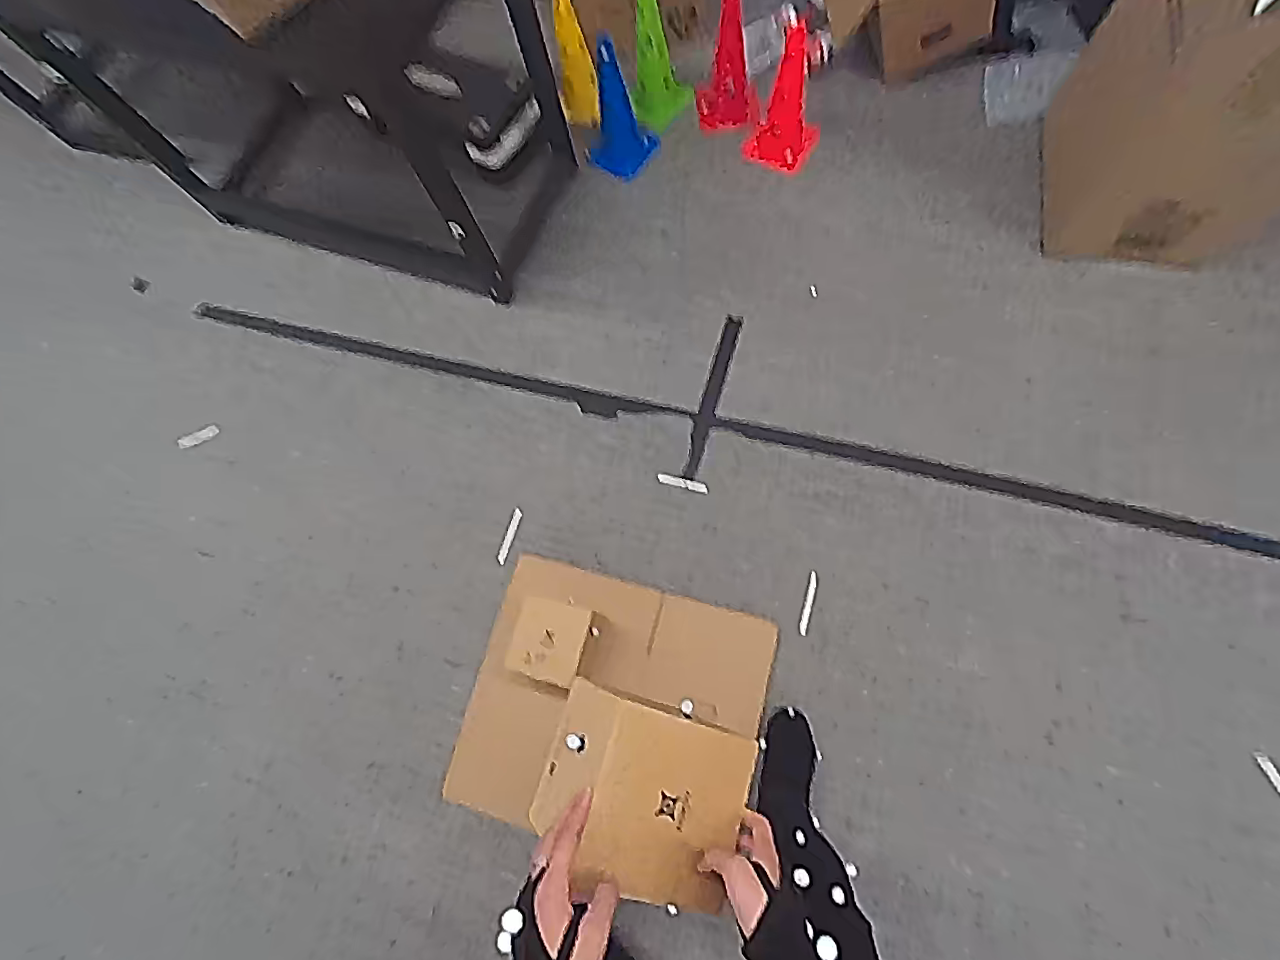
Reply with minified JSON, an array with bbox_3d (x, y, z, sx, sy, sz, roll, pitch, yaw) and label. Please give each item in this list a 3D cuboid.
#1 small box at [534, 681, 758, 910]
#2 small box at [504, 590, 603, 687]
[{"bbox_3d":[-0.001,0.339,0.613,0.179,0.176,0.168,25,70,-18],"label":"small box"},{"bbox_3d":[-0.195,0.376,1.288,0.168,0.176,0.179,13,75,11],"label":"small box"}]
